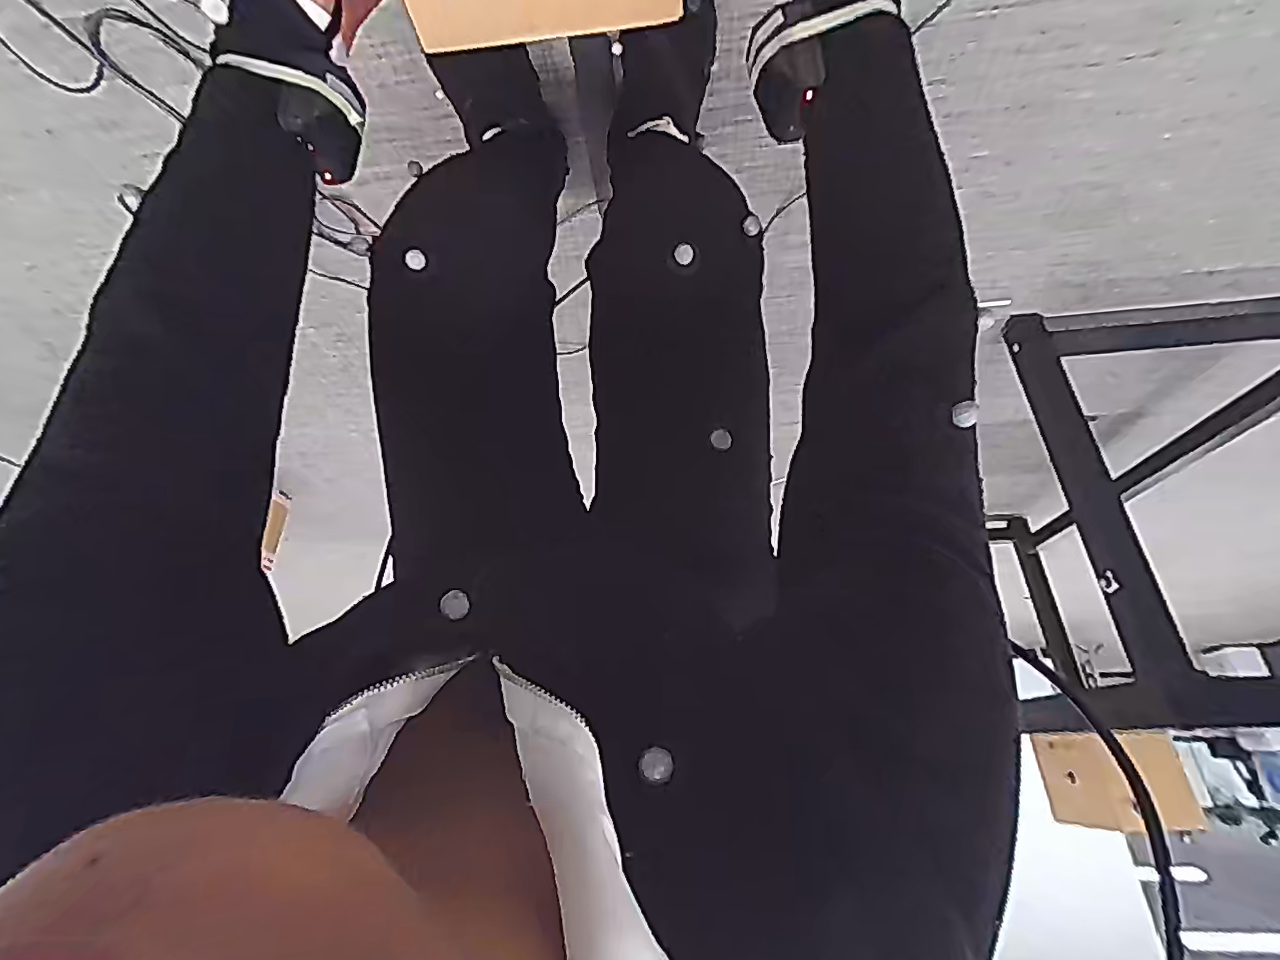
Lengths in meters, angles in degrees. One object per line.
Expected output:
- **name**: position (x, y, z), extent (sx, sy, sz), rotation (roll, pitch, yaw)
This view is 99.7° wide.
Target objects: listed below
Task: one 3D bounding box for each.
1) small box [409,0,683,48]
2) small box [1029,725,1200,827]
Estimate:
- **small box**: position (-0.067, -0.404, 0.322), extent (0.179, 0.176, 0.168), rotation (-3, 153, 5)
- **small box**: position (0.947, 0.598, 1.102), extent (0.179, 0.176, 0.168), rotation (1, 154, -5)
